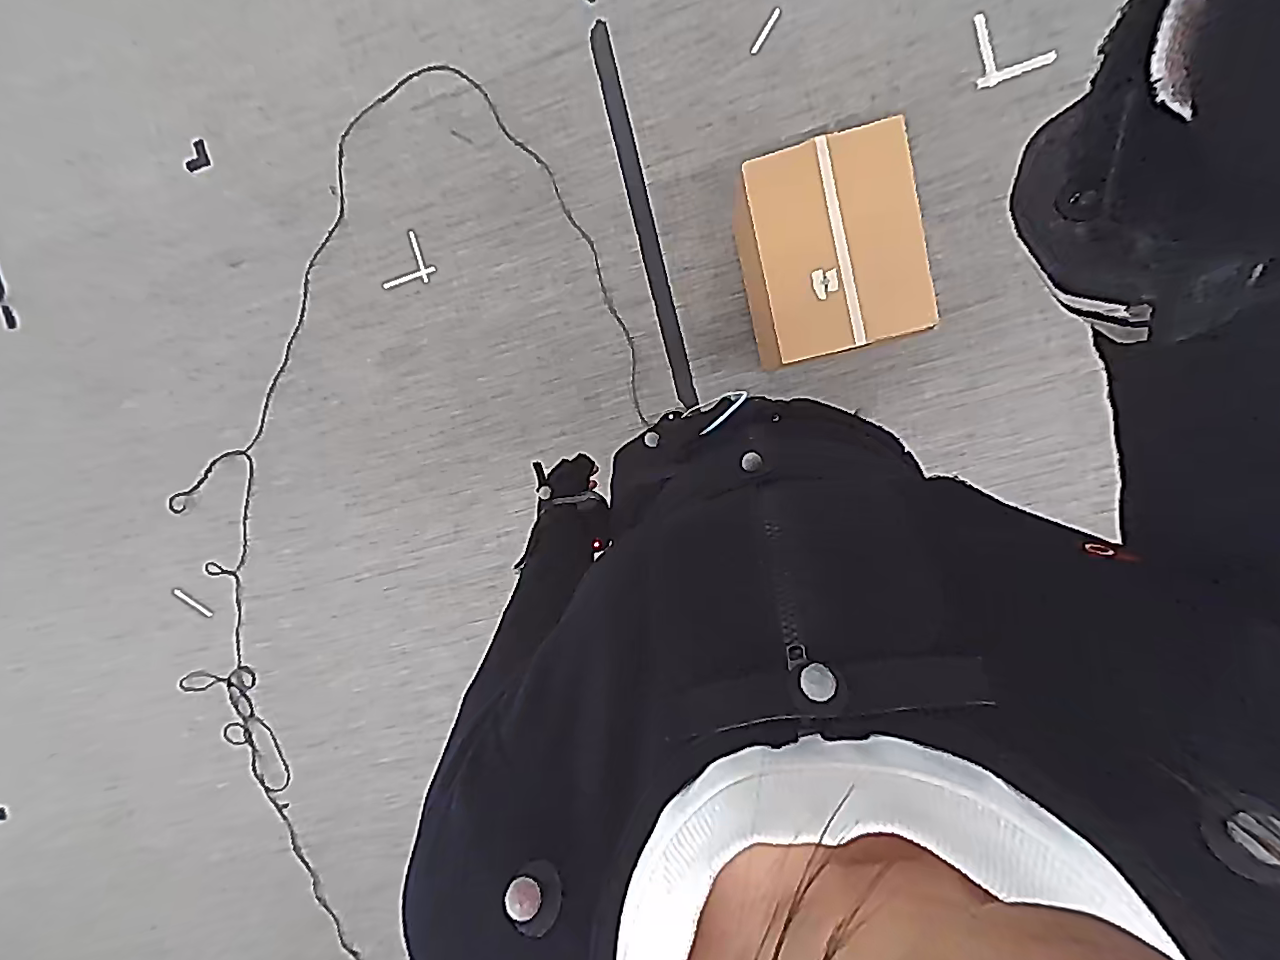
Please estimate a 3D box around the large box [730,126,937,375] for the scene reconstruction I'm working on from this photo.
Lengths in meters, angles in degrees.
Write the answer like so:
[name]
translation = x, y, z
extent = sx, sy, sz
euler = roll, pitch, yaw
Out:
[large box]
translation = 0.409, -0.477, 1.220
extent = 0.320, 0.320, 0.408
euler = -14, 97, 8
